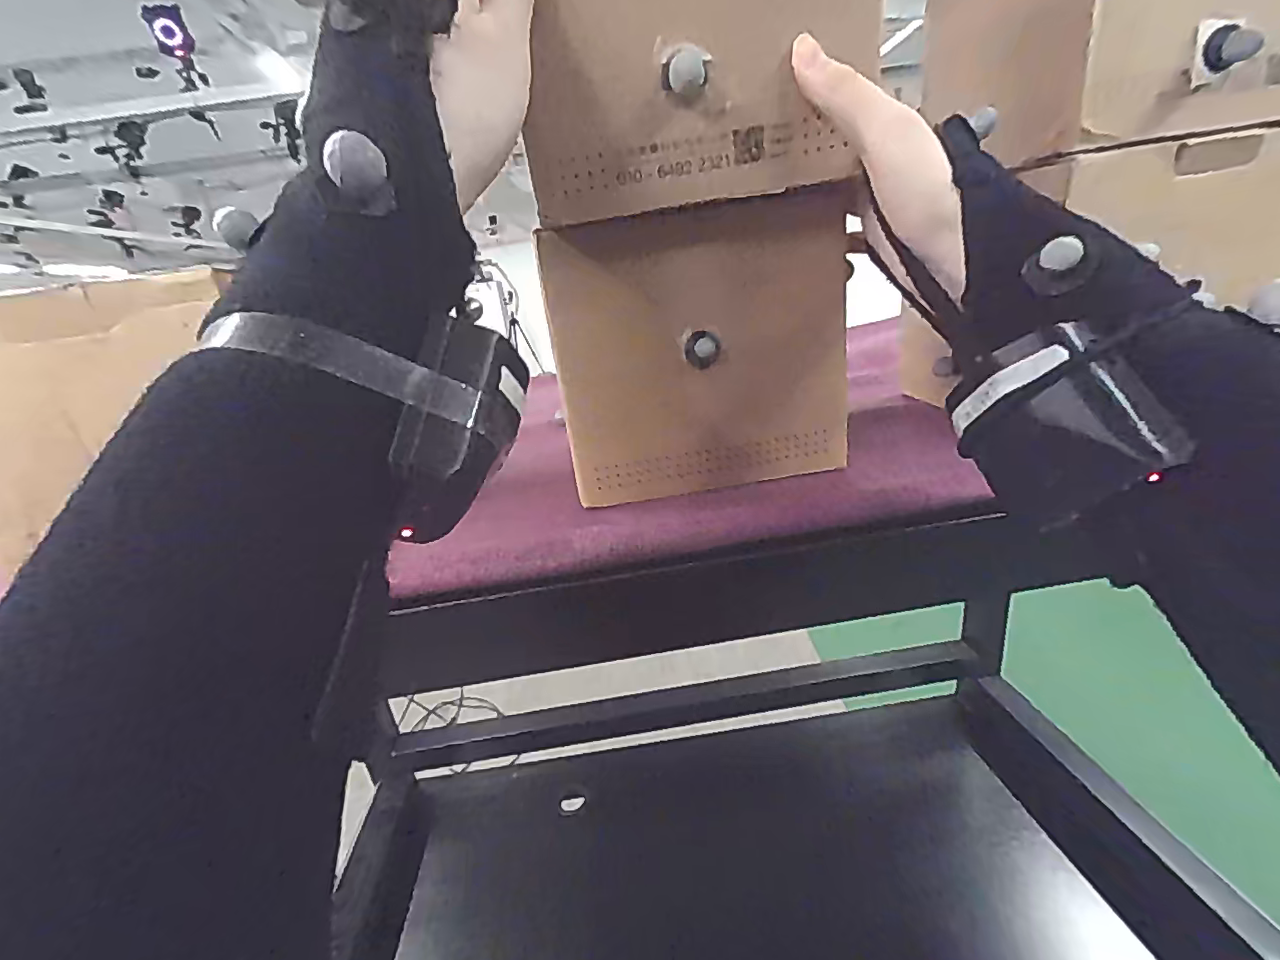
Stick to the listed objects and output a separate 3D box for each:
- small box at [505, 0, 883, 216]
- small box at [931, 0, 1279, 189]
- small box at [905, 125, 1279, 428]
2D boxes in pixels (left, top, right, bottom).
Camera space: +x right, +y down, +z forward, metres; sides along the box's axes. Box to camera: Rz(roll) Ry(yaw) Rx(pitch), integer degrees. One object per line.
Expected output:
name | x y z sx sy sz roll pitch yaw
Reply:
small box | 0.019 -0.249 0.299 0.168 0.176 0.179 -9 28 1
small box | 0.308 -0.294 0.345 0.168 0.176 0.179 -9 21 2
small box | 0.319 -0.141 0.401 0.168 0.176 0.179 -8 21 0
